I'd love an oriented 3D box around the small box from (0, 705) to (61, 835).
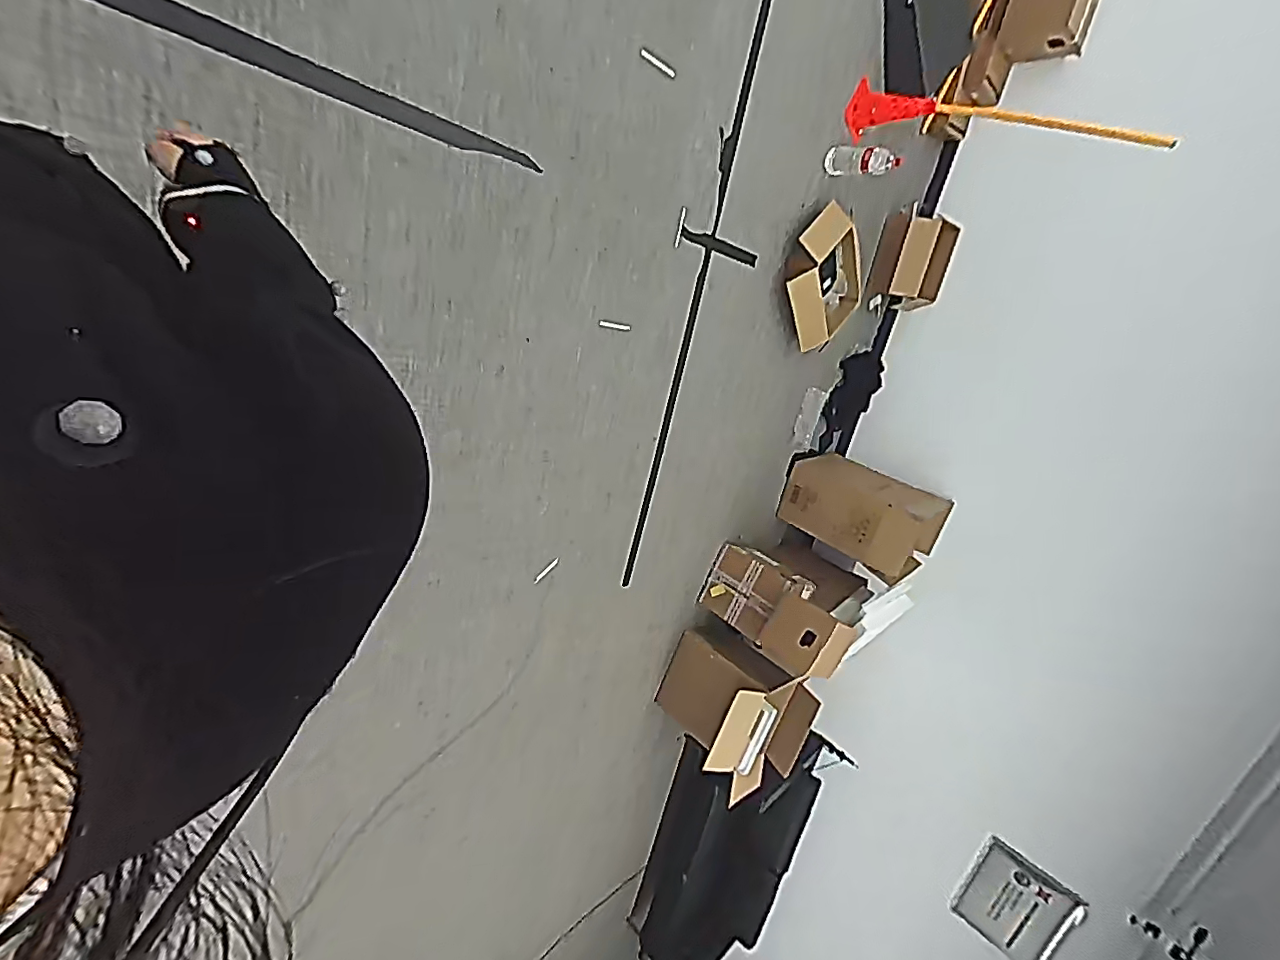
[{"bbox_3d":[-1.324,0.605,1.105,0.168,0.176,0.179,-15,123,-44],"label":"small box"}]
